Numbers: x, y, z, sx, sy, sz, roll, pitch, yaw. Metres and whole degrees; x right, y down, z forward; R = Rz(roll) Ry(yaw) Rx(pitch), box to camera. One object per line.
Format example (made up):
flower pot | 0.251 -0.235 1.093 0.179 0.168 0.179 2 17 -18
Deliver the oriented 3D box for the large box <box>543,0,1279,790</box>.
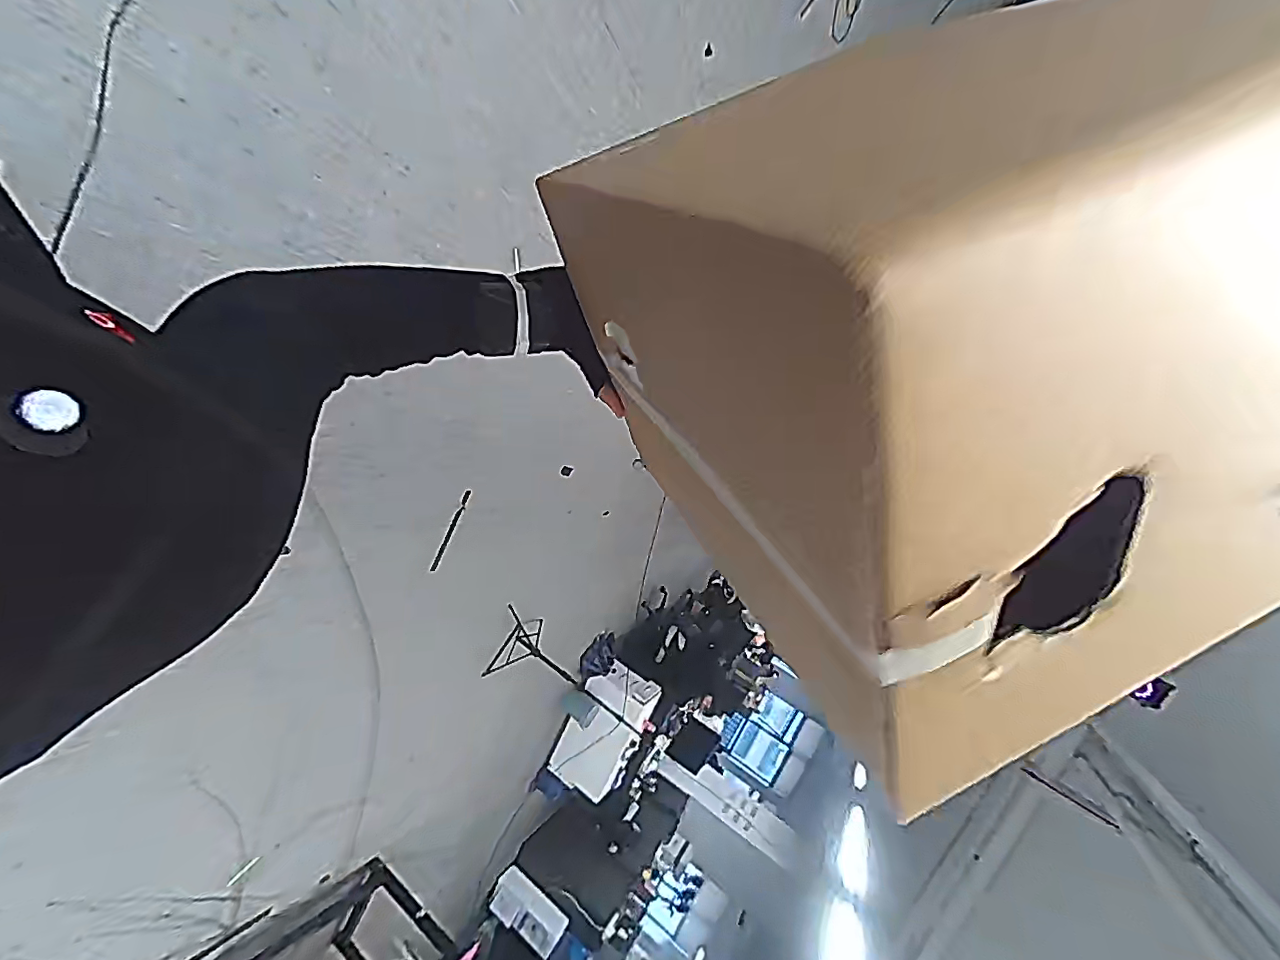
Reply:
large box | 0.159 -0.092 0.393 0.320 0.408 0.320 -24 127 -5
